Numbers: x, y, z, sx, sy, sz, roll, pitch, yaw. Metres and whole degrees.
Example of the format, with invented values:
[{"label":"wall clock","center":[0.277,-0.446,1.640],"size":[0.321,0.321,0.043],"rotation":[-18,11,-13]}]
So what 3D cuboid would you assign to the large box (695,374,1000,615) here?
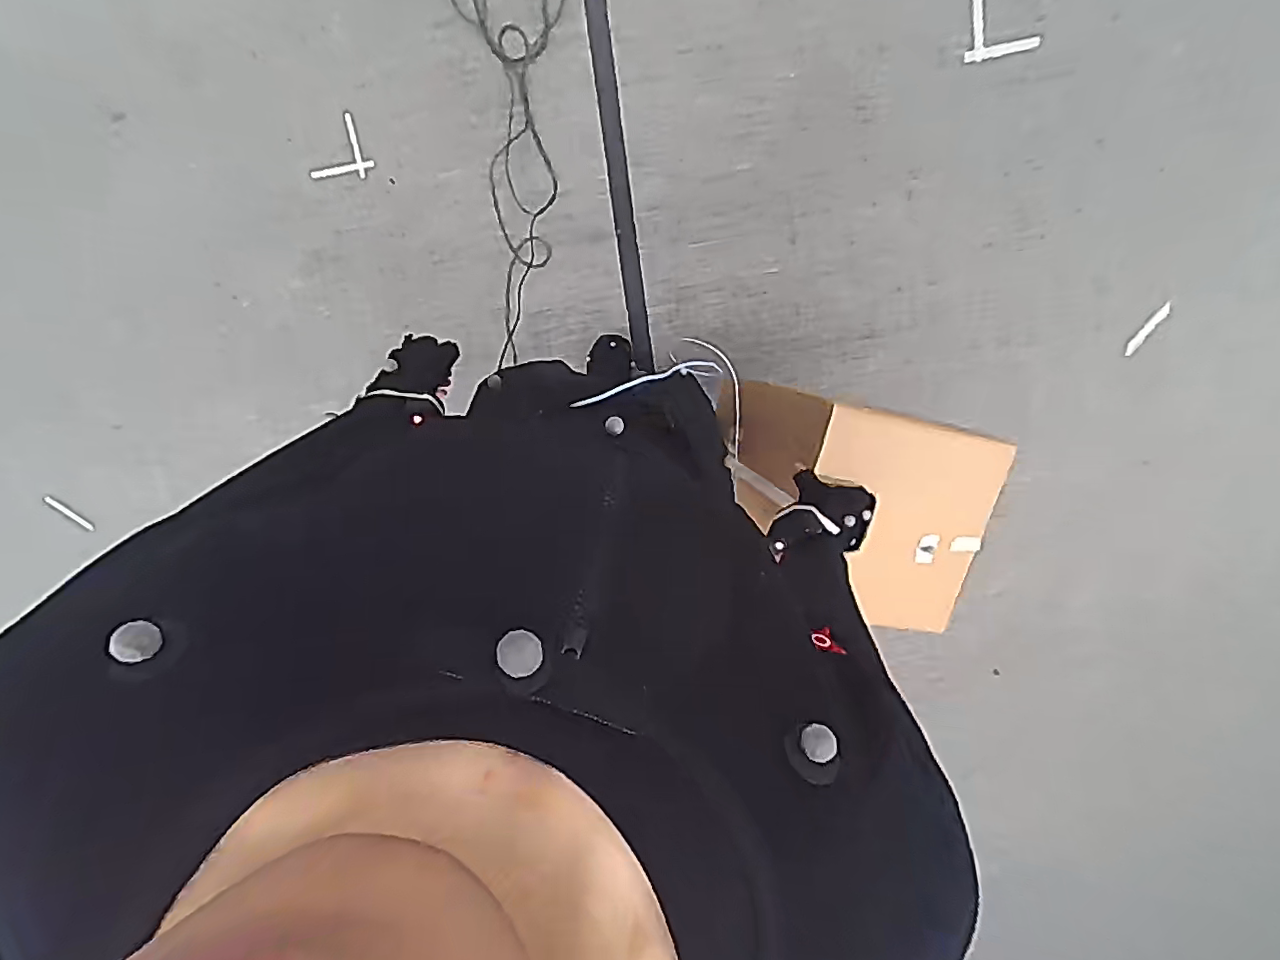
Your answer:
[{"label":"large box","center":[0.328,0.005,0.979],"size":[0.320,0.408,0.320],"rotation":[10,105,-13]}]
